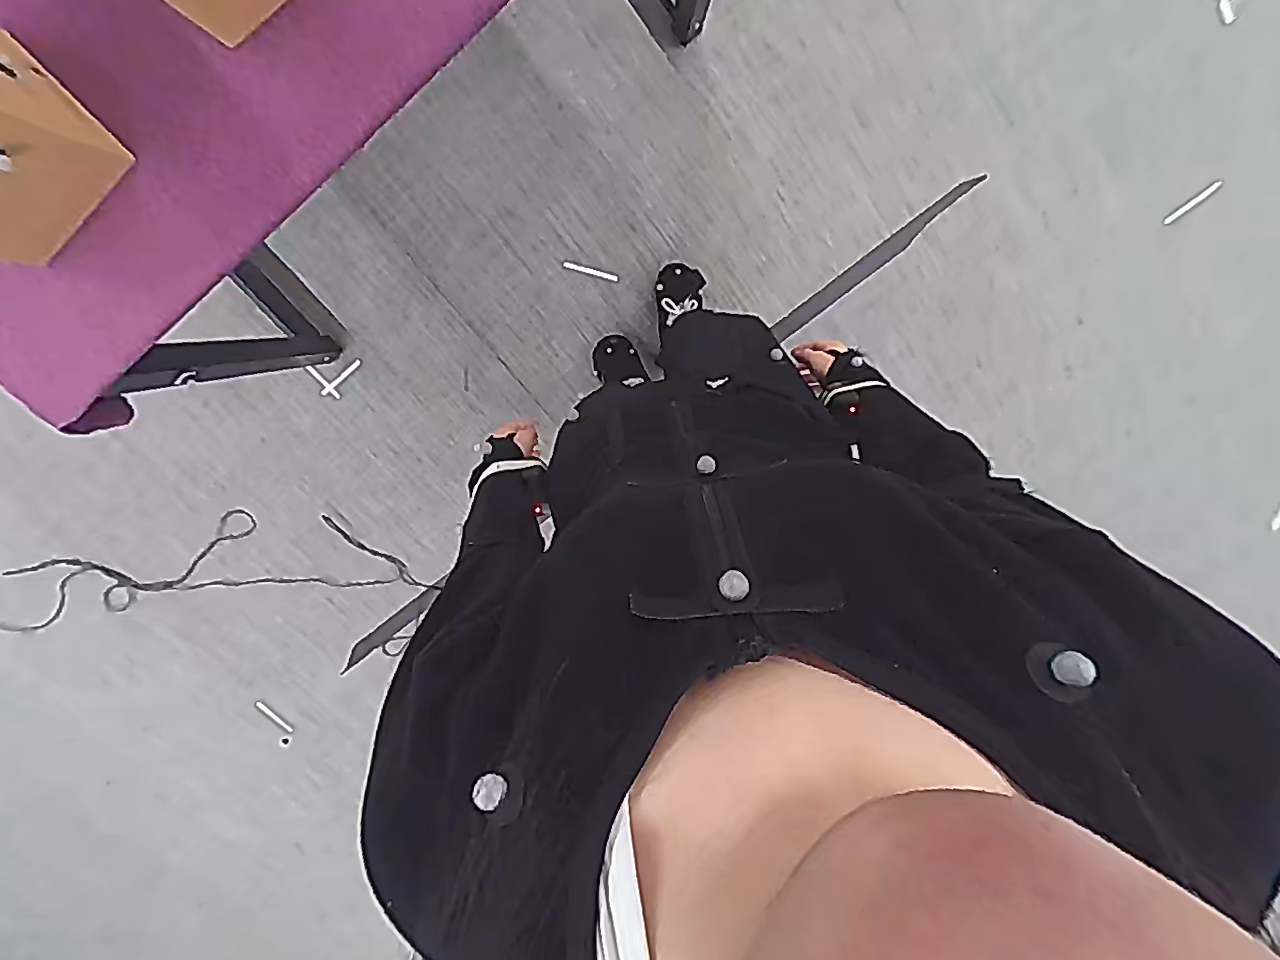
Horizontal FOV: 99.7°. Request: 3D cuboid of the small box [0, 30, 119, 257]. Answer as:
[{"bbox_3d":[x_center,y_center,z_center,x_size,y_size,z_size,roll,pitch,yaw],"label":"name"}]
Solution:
[{"bbox_3d":[-0.680,-0.347,0.524,0.179,0.176,0.168,-40,103,8],"label":"small box"}]
